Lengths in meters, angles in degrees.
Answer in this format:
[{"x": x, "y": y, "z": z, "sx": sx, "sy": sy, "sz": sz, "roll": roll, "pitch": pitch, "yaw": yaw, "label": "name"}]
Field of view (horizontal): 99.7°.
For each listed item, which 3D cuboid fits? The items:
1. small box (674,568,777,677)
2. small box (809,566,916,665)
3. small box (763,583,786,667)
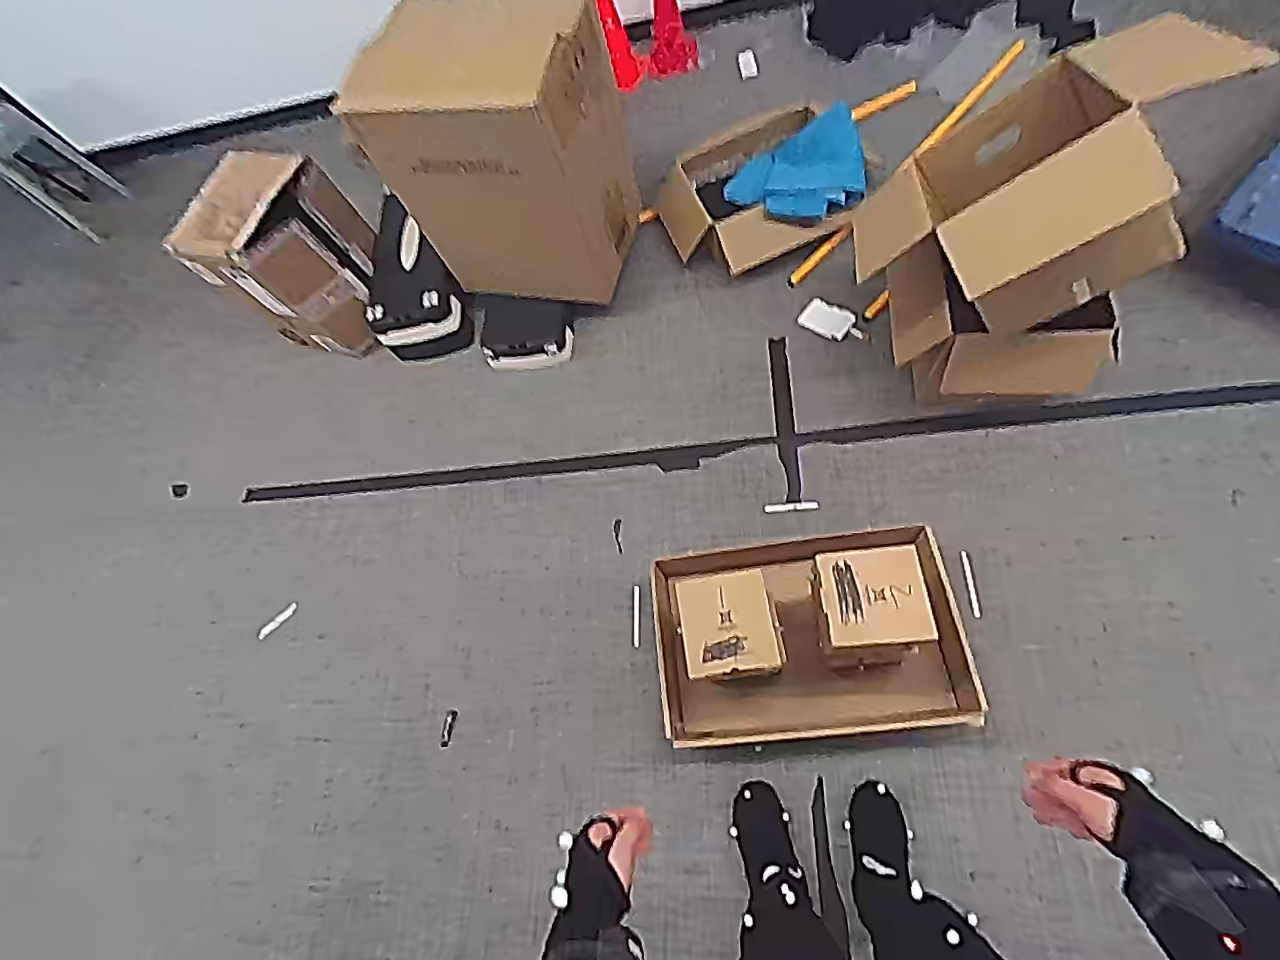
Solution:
[{"x": 0.167, "y": 0.284, "z": 1.052, "sx": 0.168, "sy": 0.176, "sz": 0.179, "roll": -10, "pitch": 66, "yaw": 6, "label": "small box"}, {"x": 0.468, "y": 0.297, "z": 1.166, "sx": 0.168, "sy": 0.176, "sz": 0.179, "roll": -9, "pitch": 67, "yaw": 10, "label": "small box"}, {"x": 0.214, "y": 0.337, "z": 1.202, "sx": 0.179, "sy": 0.176, "sz": 0.168, "roll": -10, "pitch": 66, "yaw": 7, "label": "small box"}]
